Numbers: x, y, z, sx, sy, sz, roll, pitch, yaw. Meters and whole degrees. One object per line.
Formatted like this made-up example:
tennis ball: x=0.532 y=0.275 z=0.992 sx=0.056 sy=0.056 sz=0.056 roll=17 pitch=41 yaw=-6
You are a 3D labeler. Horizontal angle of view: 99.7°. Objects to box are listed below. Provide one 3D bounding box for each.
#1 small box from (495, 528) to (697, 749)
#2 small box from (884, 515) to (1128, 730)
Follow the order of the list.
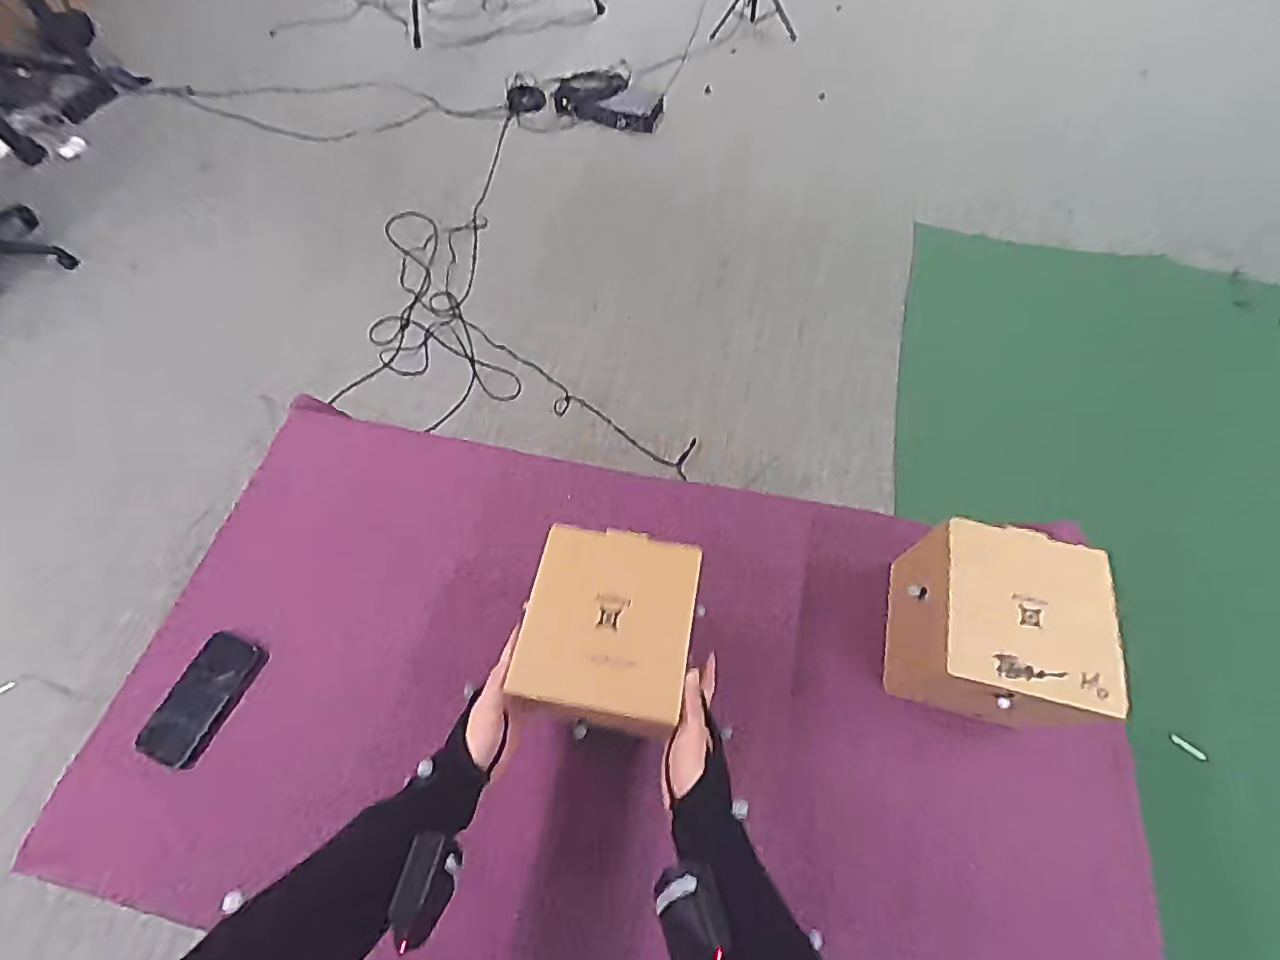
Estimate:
small box: x=-0.038 y=0.177 z=0.589 sx=0.168 sy=0.176 sz=0.179 roll=9 pitch=60 yaw=6
small box: x=0.394 y=0.168 z=0.617 sx=0.168 sy=0.176 sz=0.179 roll=13 pitch=62 yaw=9
